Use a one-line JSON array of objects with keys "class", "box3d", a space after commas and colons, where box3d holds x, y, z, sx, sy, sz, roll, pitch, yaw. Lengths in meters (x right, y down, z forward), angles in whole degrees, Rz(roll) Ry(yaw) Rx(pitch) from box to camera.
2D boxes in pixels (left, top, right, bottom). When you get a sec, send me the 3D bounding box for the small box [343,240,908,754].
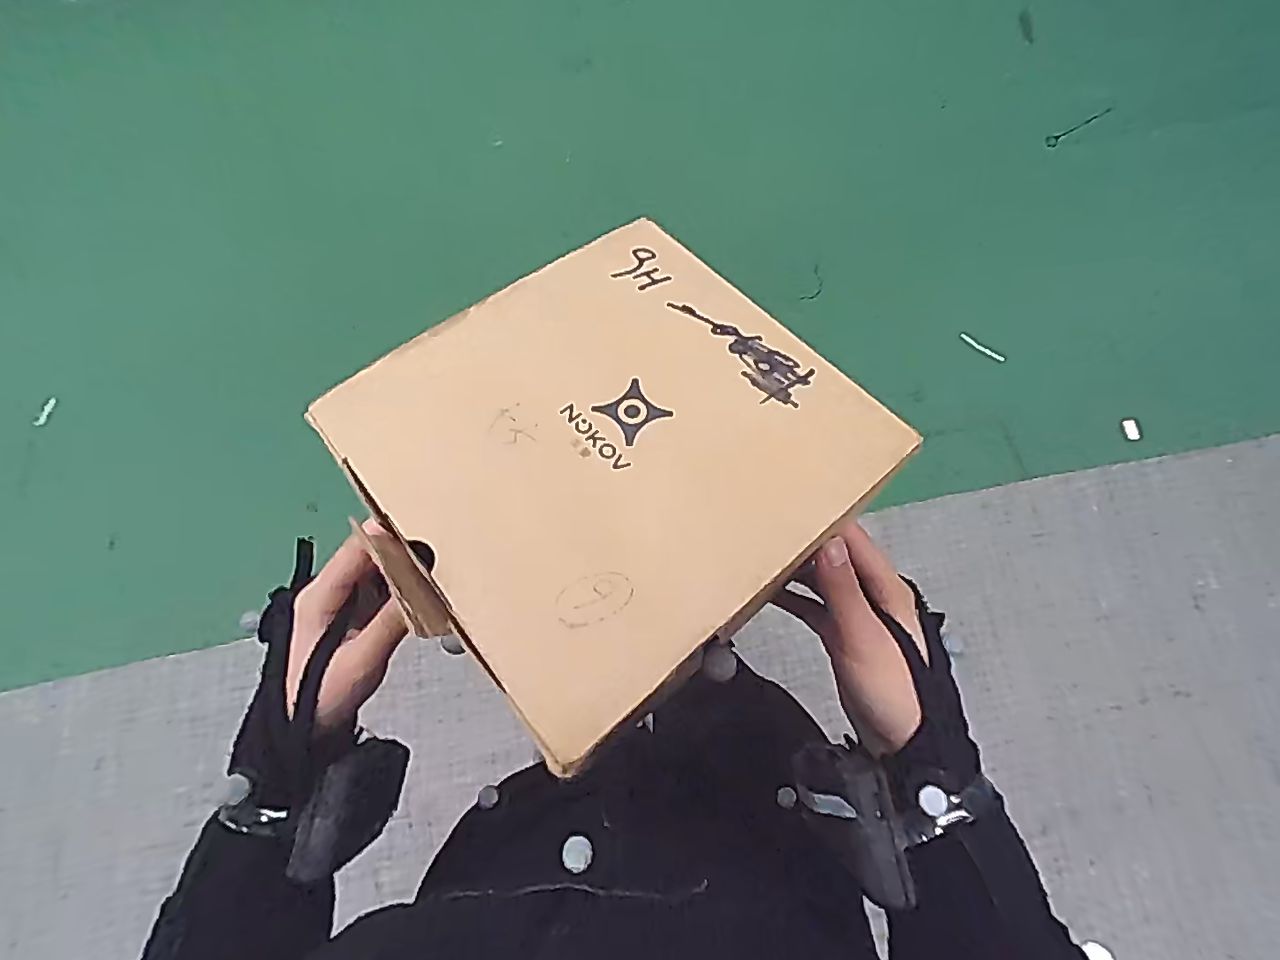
[{"class": "small box", "box3d": [-0.007, 0.019, 0.291, 0.179, 0.176, 0.168, -37, 70, -18]}]
